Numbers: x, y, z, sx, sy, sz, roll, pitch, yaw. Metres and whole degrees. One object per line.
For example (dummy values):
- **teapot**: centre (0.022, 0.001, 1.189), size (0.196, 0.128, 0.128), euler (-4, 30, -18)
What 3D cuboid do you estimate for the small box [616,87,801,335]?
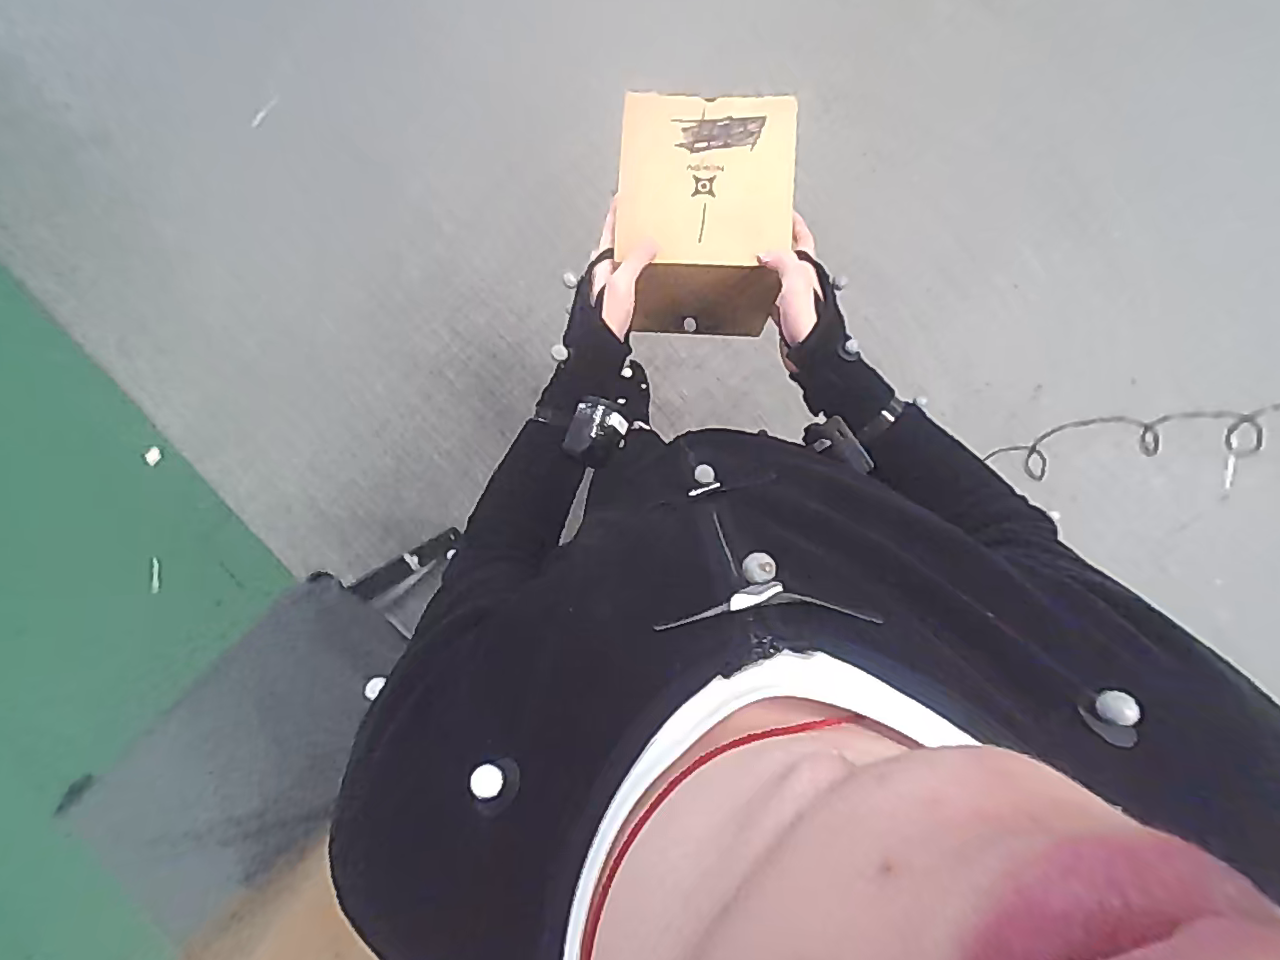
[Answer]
- **small box**: centre (0.068, -0.278, 0.587), size (0.168, 0.176, 0.179), euler (4, 84, 3)
